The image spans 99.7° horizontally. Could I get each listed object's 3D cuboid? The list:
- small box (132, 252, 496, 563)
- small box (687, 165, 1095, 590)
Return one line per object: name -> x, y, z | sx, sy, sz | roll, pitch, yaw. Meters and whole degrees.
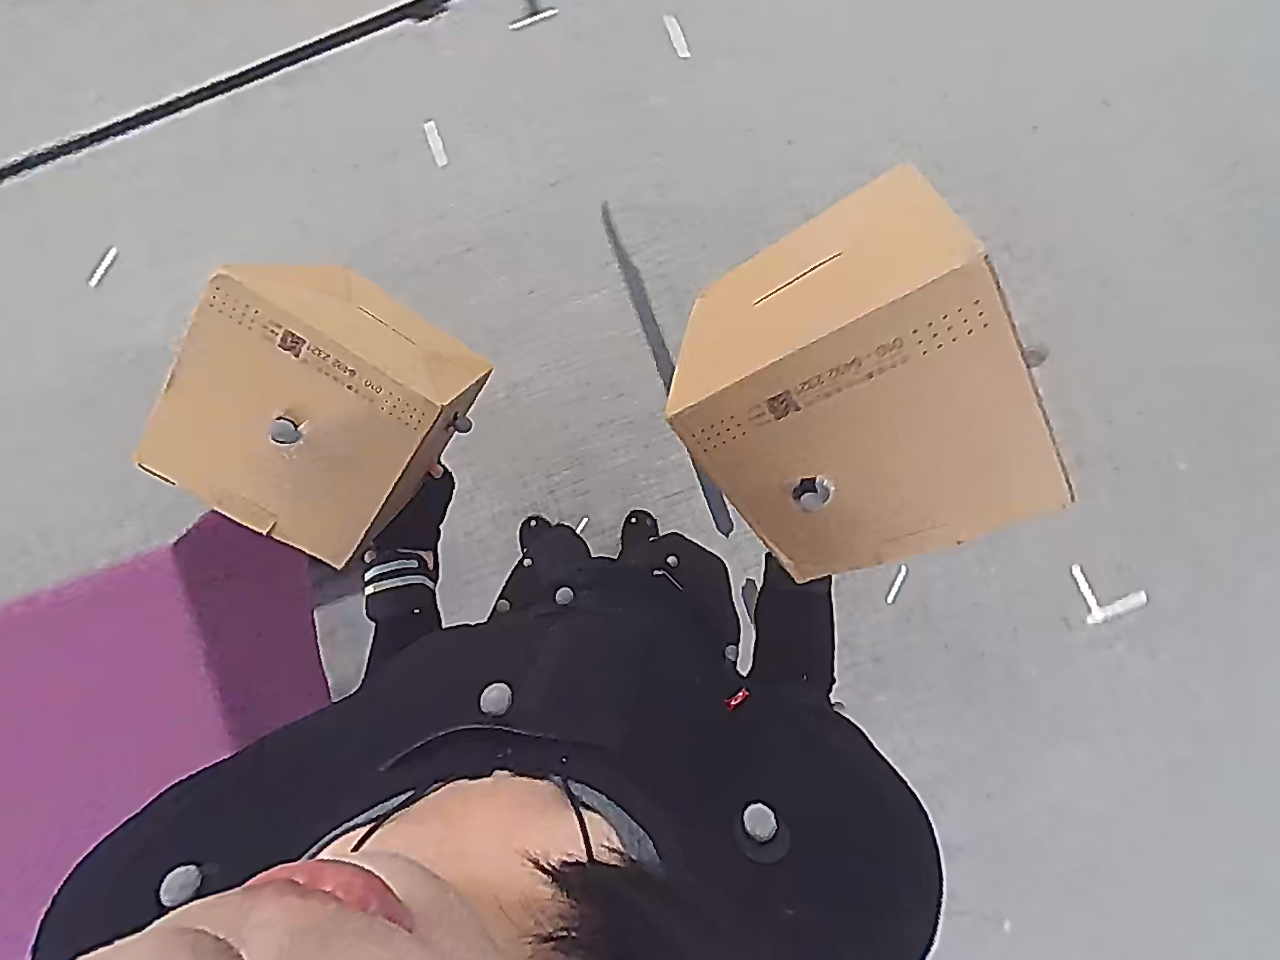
small box -> -0.246, -0.070, 0.452 | 0.168, 0.179, 0.176 | 35, 105, -14
small box -> 0.145, -0.062, 0.349 | 0.168, 0.179, 0.176 | -22, 123, 30
